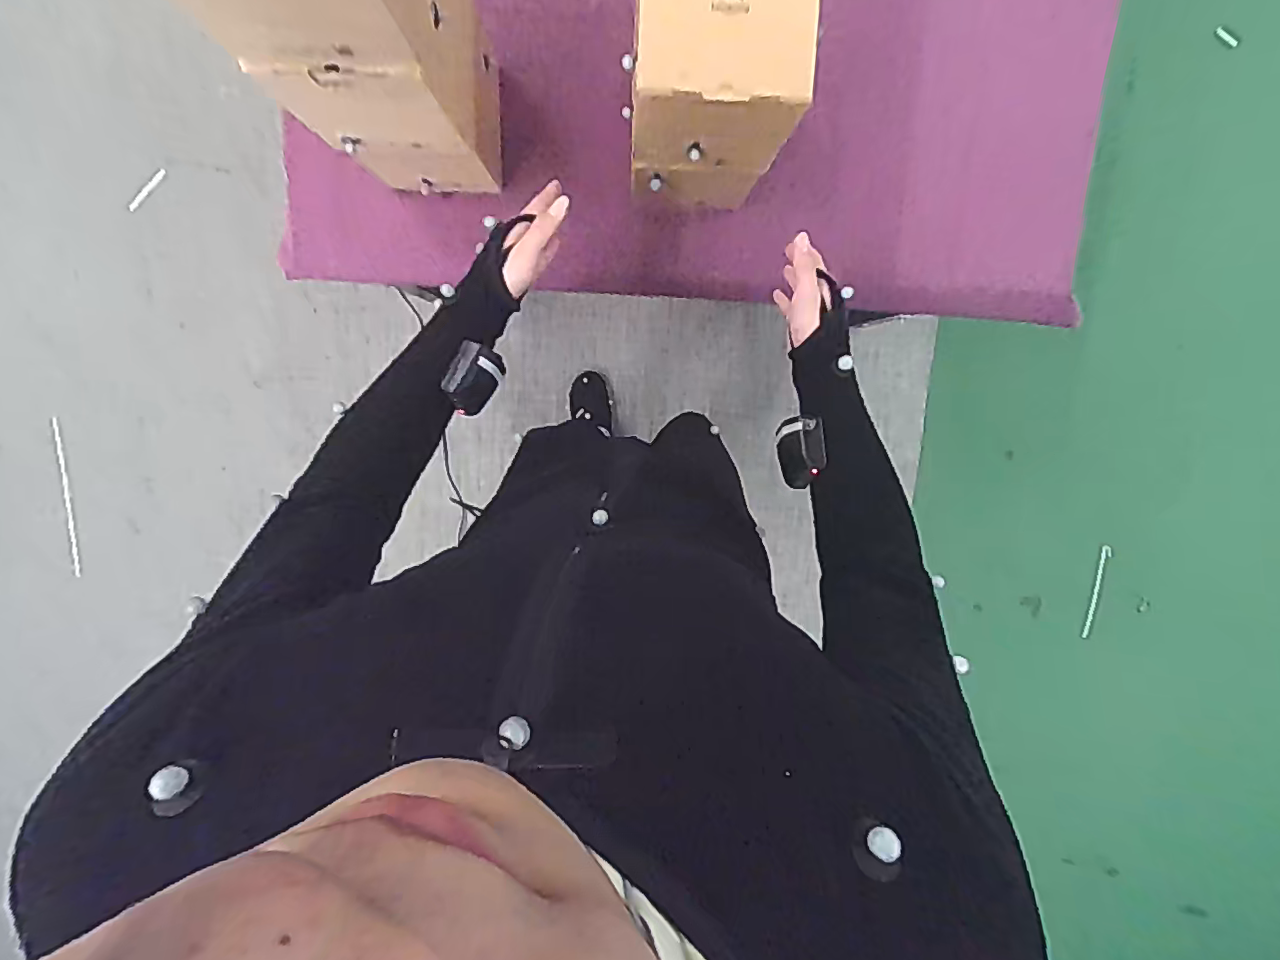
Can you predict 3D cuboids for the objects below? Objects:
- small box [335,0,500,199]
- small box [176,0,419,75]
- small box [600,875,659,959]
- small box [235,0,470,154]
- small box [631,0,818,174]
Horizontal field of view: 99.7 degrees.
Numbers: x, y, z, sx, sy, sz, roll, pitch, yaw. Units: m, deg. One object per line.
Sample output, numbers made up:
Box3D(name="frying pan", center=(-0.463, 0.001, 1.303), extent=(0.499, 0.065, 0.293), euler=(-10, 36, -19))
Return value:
Box3D(name="small box", center=(-0.285, -0.495, 0.712), extent=(0.168, 0.176, 0.179), euler=(1, 100, -2))
Box3D(name="small box", center=(-0.274, -0.439, 0.389), extent=(0.168, 0.176, 0.179), euler=(0, 99, -1))
Box3D(name="small box", center=(-0.035, 1.428, 1.741), extent=(0.168, 0.176, 0.179), euler=(7, 101, -3))
Box3D(name="small box", center=(-0.279, -0.459, 0.552), extent=(0.168, 0.176, 0.179), euler=(1, 99, -2))
Box3D(name="small box", center=(0.077, -0.450, 0.566), extent=(0.168, 0.176, 0.179), euler=(1, 100, -2))
